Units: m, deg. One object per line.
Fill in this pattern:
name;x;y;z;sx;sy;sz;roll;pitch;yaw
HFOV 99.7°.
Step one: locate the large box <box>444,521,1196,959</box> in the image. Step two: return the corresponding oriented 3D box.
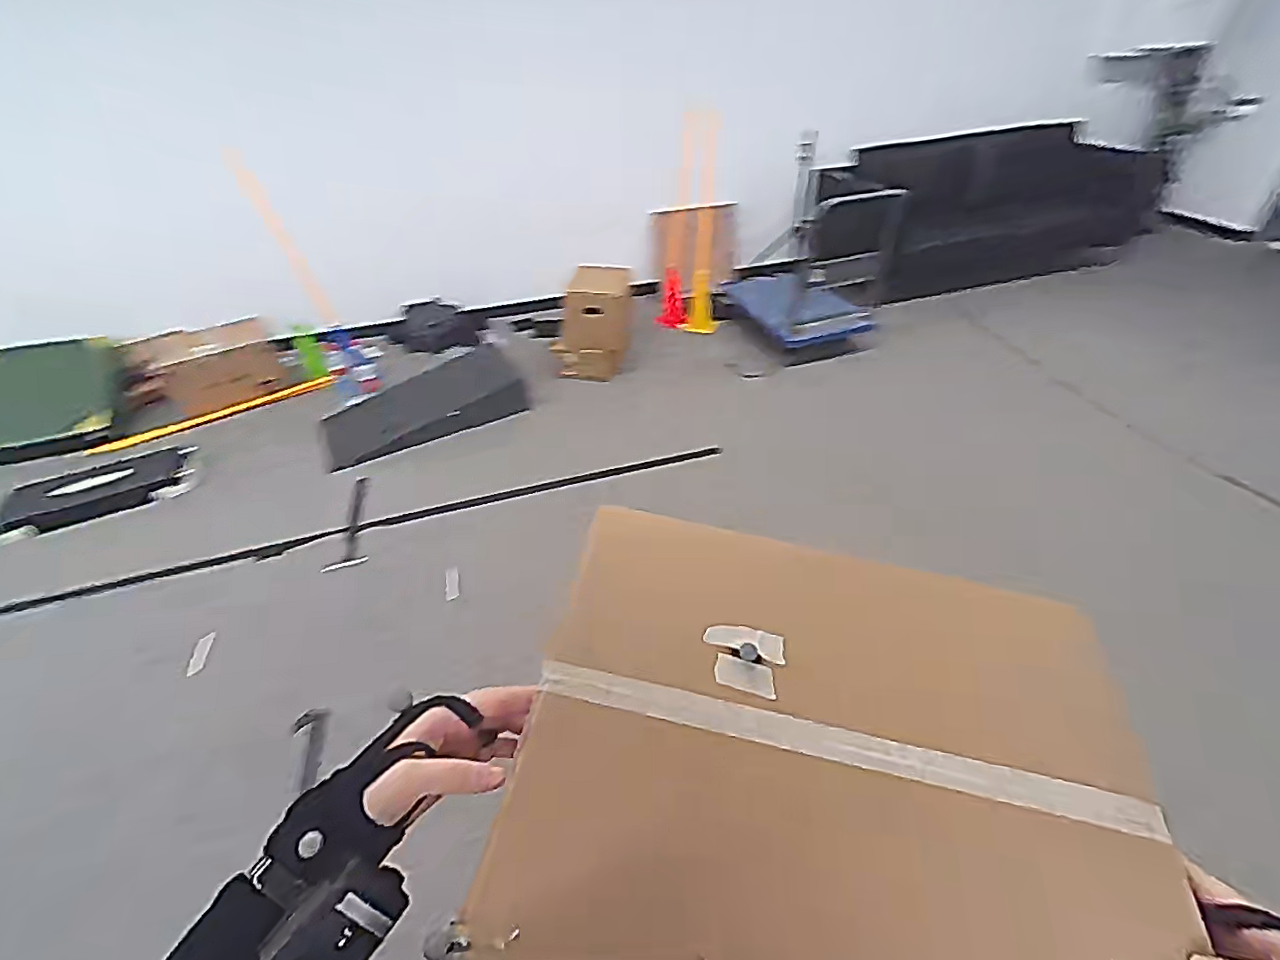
large box;0.113;0.275;0.462;0.408;0.320;0.320;10;49;5
